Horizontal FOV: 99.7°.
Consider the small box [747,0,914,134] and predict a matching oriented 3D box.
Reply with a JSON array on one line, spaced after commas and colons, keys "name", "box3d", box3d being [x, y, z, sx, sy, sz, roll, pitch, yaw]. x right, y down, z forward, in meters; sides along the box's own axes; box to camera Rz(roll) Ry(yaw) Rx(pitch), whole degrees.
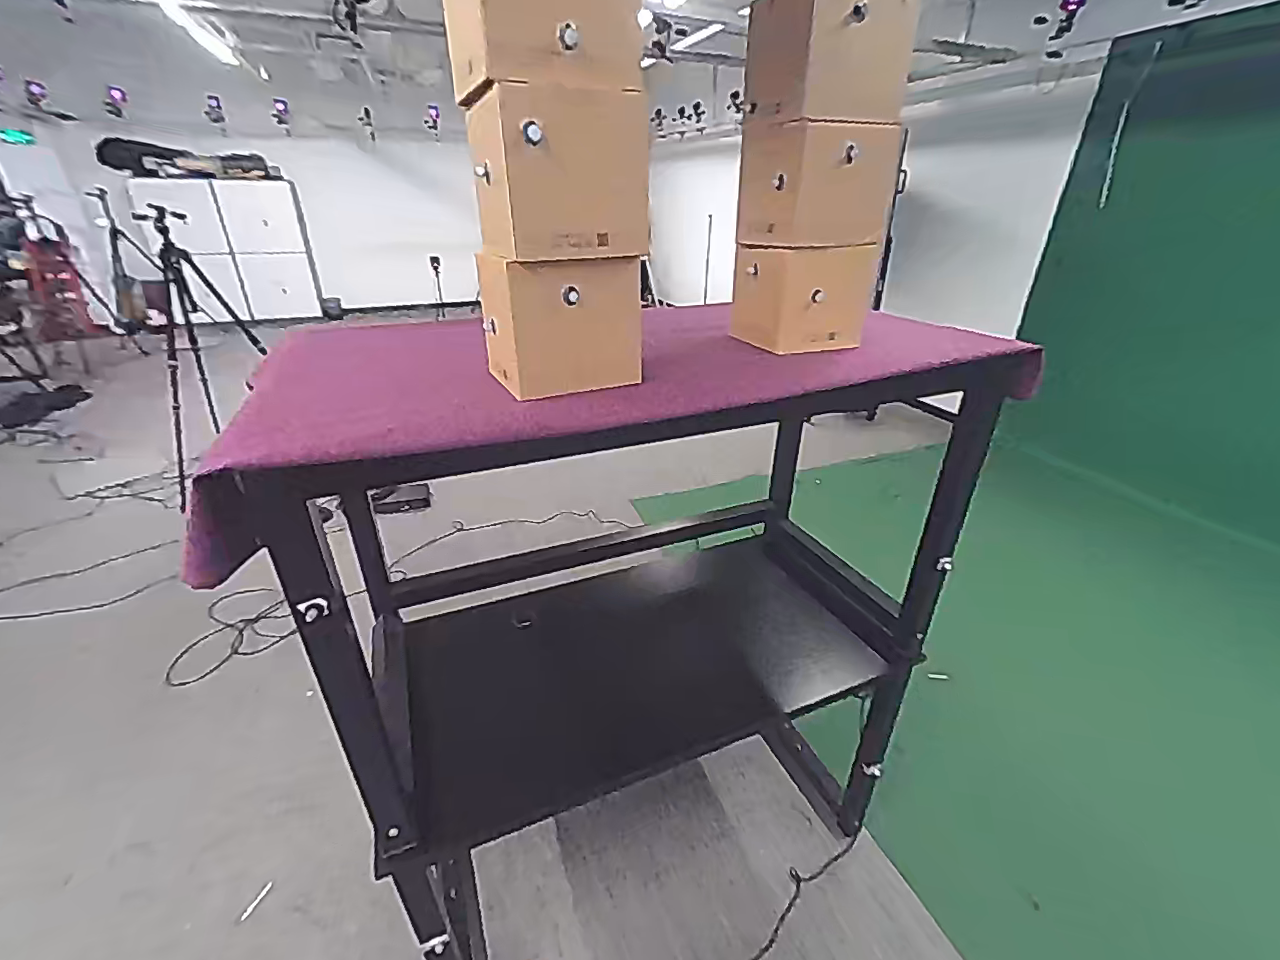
[{"name": "small box", "box3d": [0.271, -0.611, 0.801, 0.179, 0.176, 0.168, -10, 28, -19]}]

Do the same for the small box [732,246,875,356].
[{"name": "small box", "box3d": [0.274, -0.317, 0.943, 0.168, 0.176, 0.179, -9, 27, -17]}]

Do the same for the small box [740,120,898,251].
[{"name": "small box", "box3d": [0.273, -0.460, 0.863, 0.179, 0.176, 0.168, -11, 28, -20]}]

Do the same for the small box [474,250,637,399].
[{"name": "small box", "box3d": [-0.112, -0.216, 0.738, 0.179, 0.176, 0.168, -13, 30, -24]}]

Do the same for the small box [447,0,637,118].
[{"name": "small box", "box3d": [-0.111, -0.511, 0.596, 0.179, 0.176, 0.168, -13, 28, -24]}]
